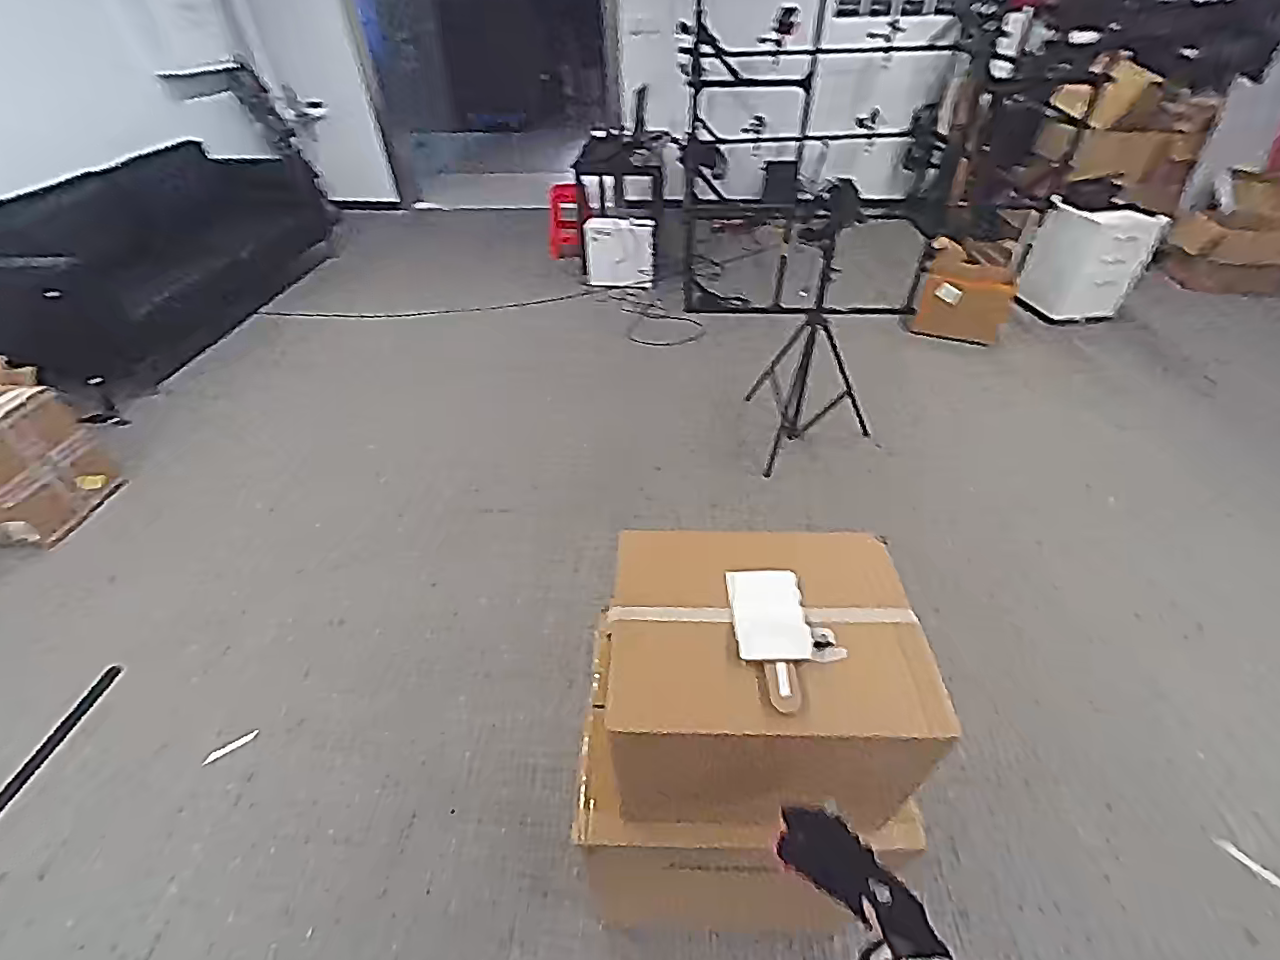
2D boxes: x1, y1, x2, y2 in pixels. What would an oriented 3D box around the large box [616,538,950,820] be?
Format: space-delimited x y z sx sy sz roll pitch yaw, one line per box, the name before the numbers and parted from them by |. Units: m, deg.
large box | 0.170 0.306 0.842 0.408 0.320 0.320 1 42 1
